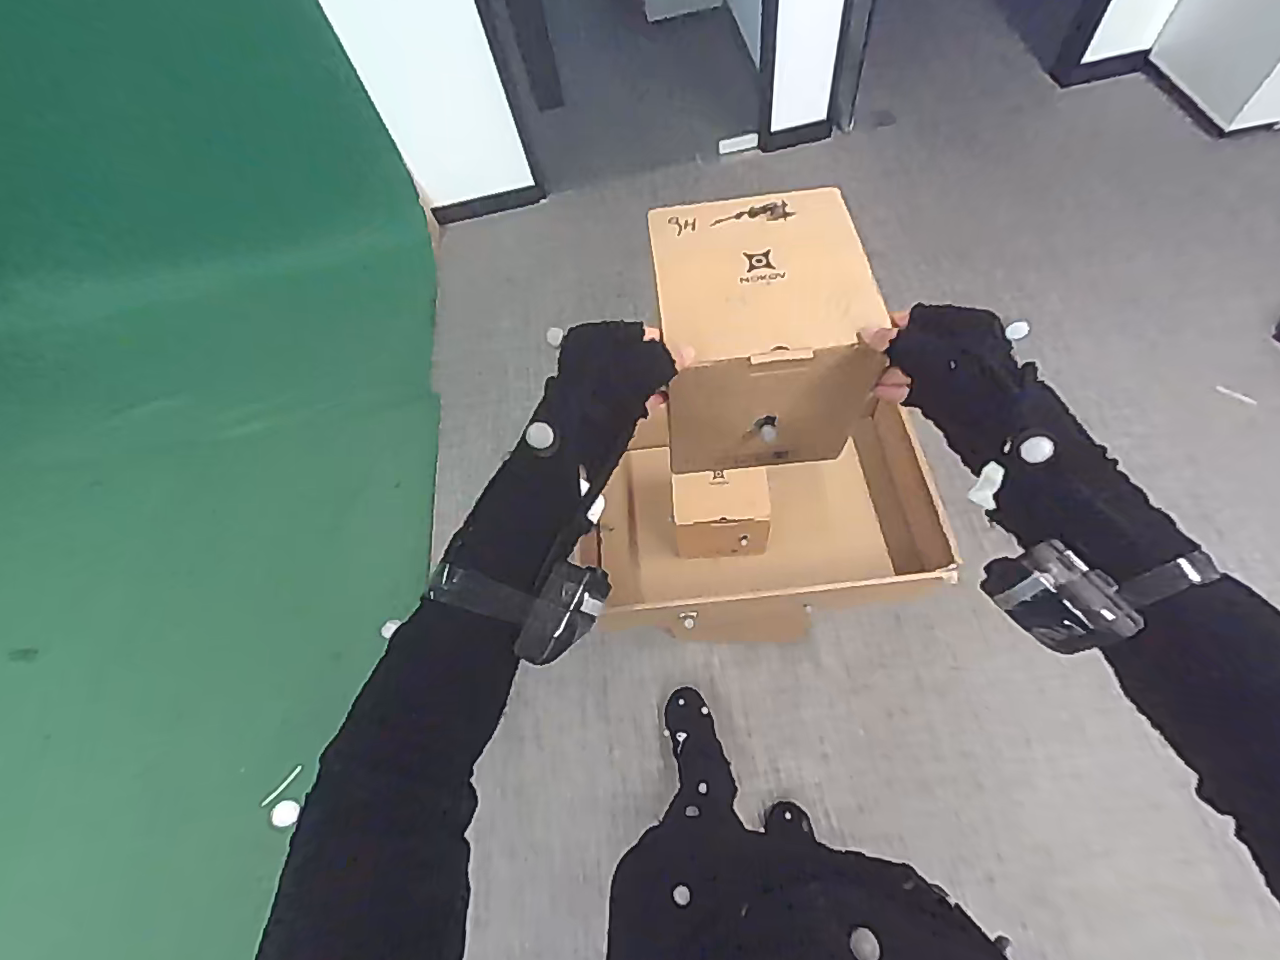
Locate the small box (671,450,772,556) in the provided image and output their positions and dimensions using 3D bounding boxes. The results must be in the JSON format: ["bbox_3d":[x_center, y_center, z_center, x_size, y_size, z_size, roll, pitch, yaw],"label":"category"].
[{"bbox_3d":[0.147,0.035,1.009,0.168,0.176,0.179,-4,60,4],"label":"small box"}]

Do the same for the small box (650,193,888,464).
[{"bbox_3d":[0.101,-0.125,0.500,0.168,0.176,0.179,-6,63,2],"label":"small box"}]
